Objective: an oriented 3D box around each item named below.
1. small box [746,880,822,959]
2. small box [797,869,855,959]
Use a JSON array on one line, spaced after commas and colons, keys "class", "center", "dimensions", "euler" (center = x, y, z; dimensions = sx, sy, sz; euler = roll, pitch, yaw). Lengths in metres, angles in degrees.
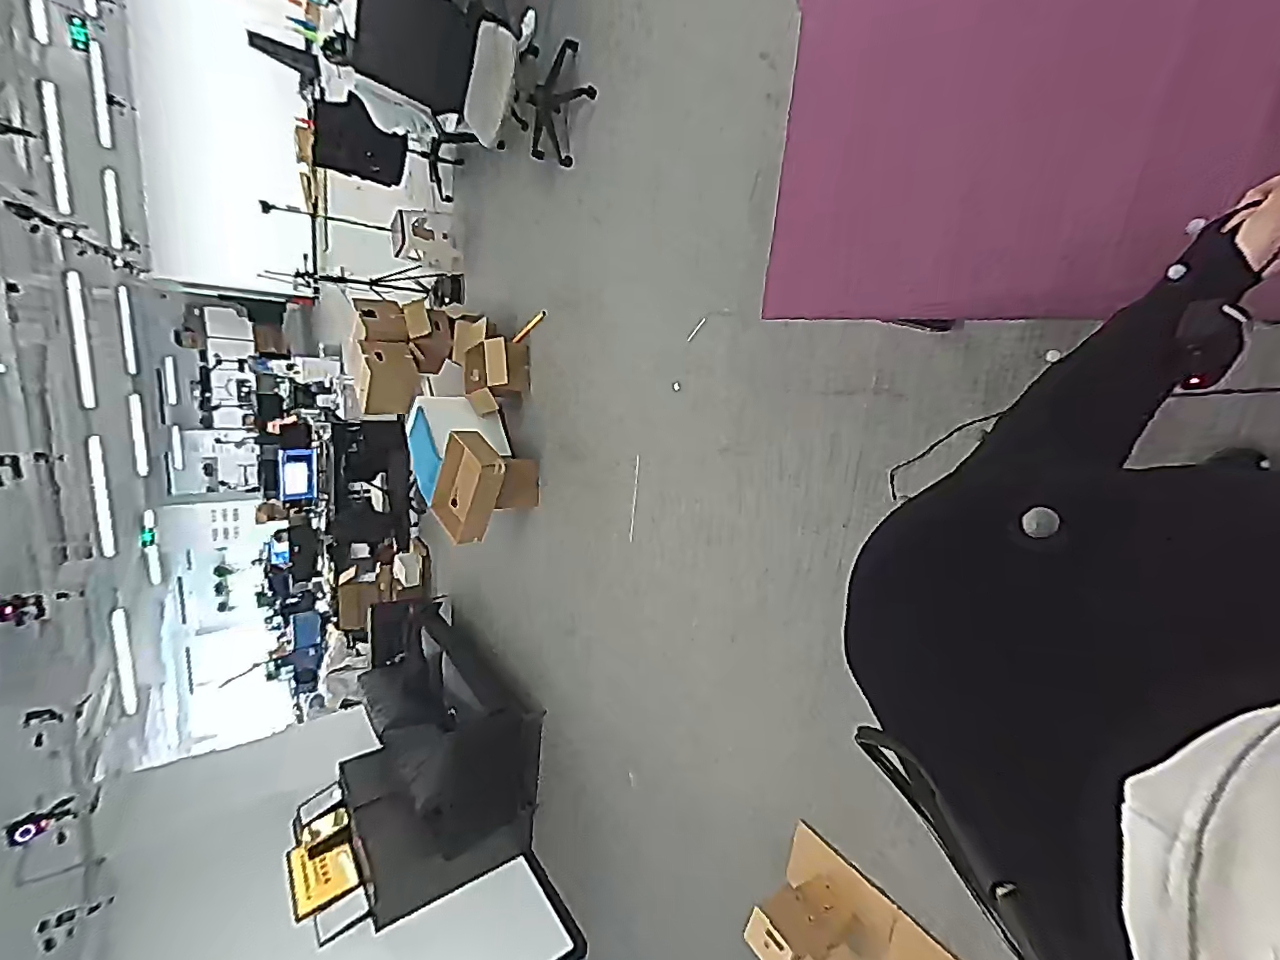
[{"class": "small box", "center": [0.497, 1.529, 1.852], "dimensions": [0.168, 0.176, 0.179], "euler": [35, 122, 46]}, {"class": "small box", "center": [0.642, 1.552, 1.935], "dimensions": [0.168, 0.176, 0.179], "euler": [30, 118, 48]}]
